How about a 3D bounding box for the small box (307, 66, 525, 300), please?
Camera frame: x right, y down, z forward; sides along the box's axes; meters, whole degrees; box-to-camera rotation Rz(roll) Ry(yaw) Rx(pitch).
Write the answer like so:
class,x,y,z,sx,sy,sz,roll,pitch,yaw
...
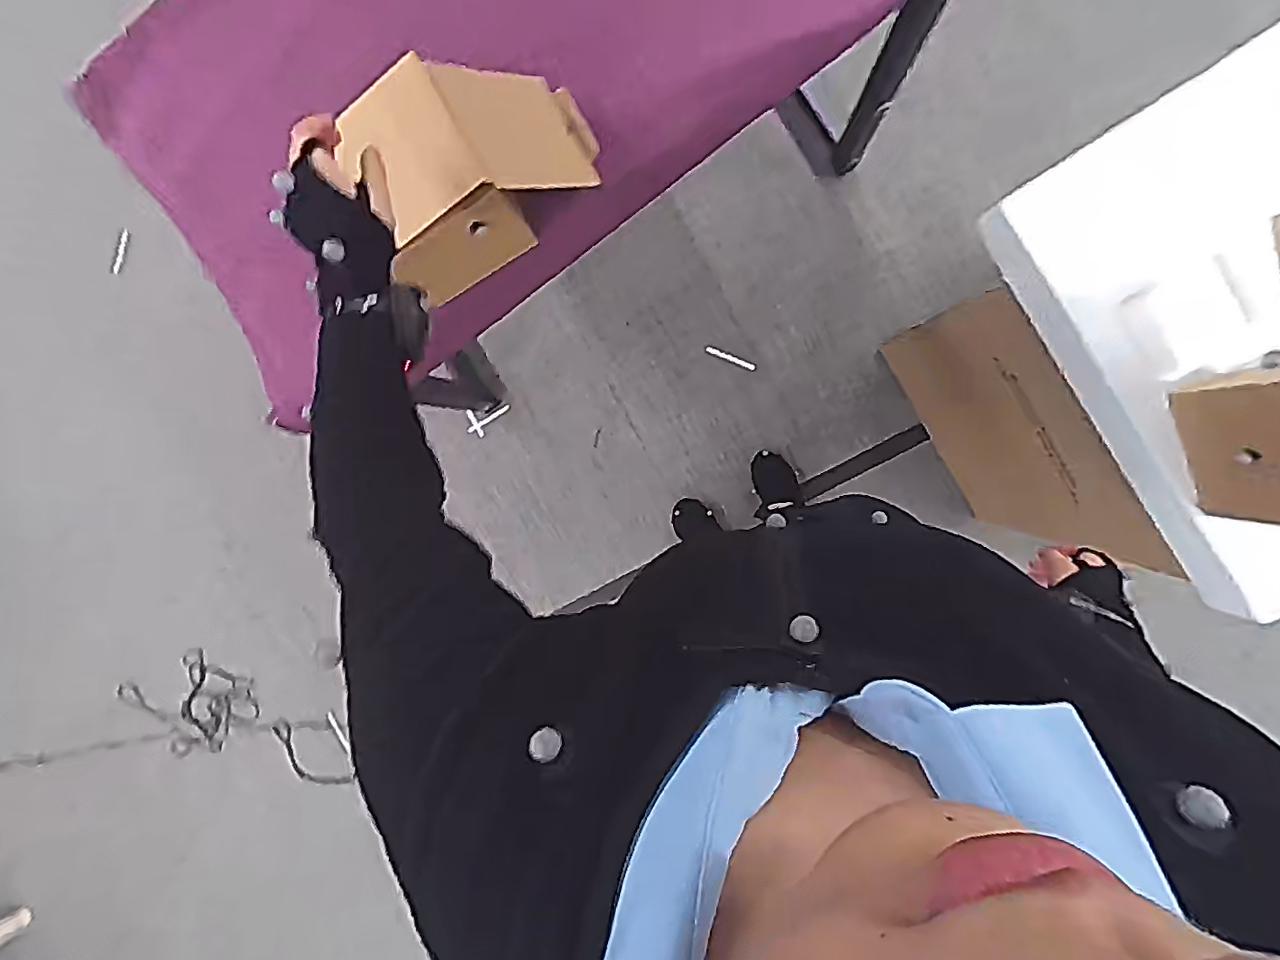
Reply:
class,x,y,z,sx,sy,sz,roll,pitch,yaw
small box,-0.268,-0.362,0.698,0.179,0.176,0.168,-29,90,8
